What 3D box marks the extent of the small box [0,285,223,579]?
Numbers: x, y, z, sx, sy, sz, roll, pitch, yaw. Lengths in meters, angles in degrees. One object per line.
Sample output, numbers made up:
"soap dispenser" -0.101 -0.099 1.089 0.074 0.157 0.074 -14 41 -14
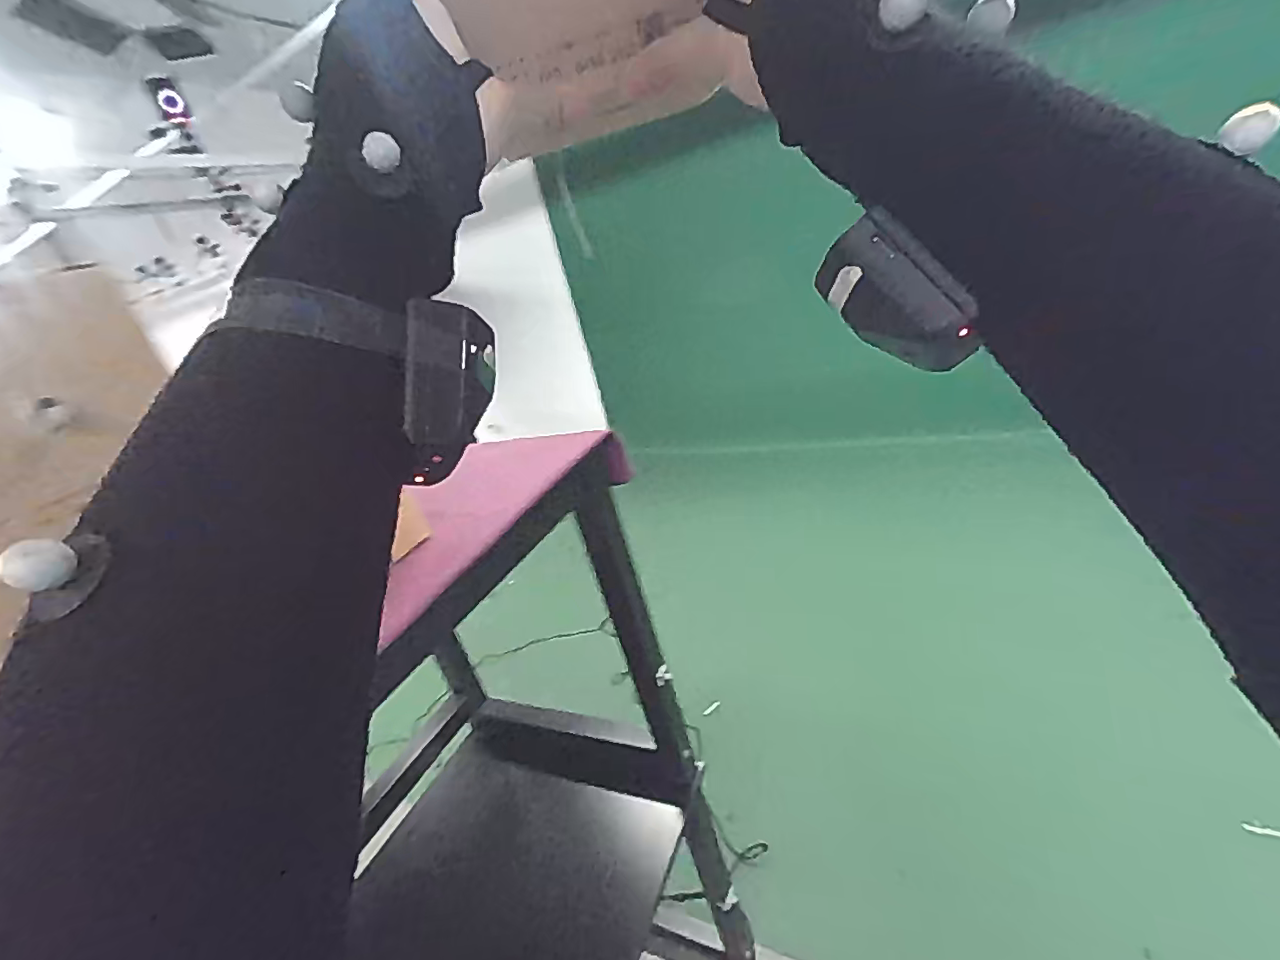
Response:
"small box" -0.477 -0.031 0.412 0.179 0.176 0.168 -3 27 29
